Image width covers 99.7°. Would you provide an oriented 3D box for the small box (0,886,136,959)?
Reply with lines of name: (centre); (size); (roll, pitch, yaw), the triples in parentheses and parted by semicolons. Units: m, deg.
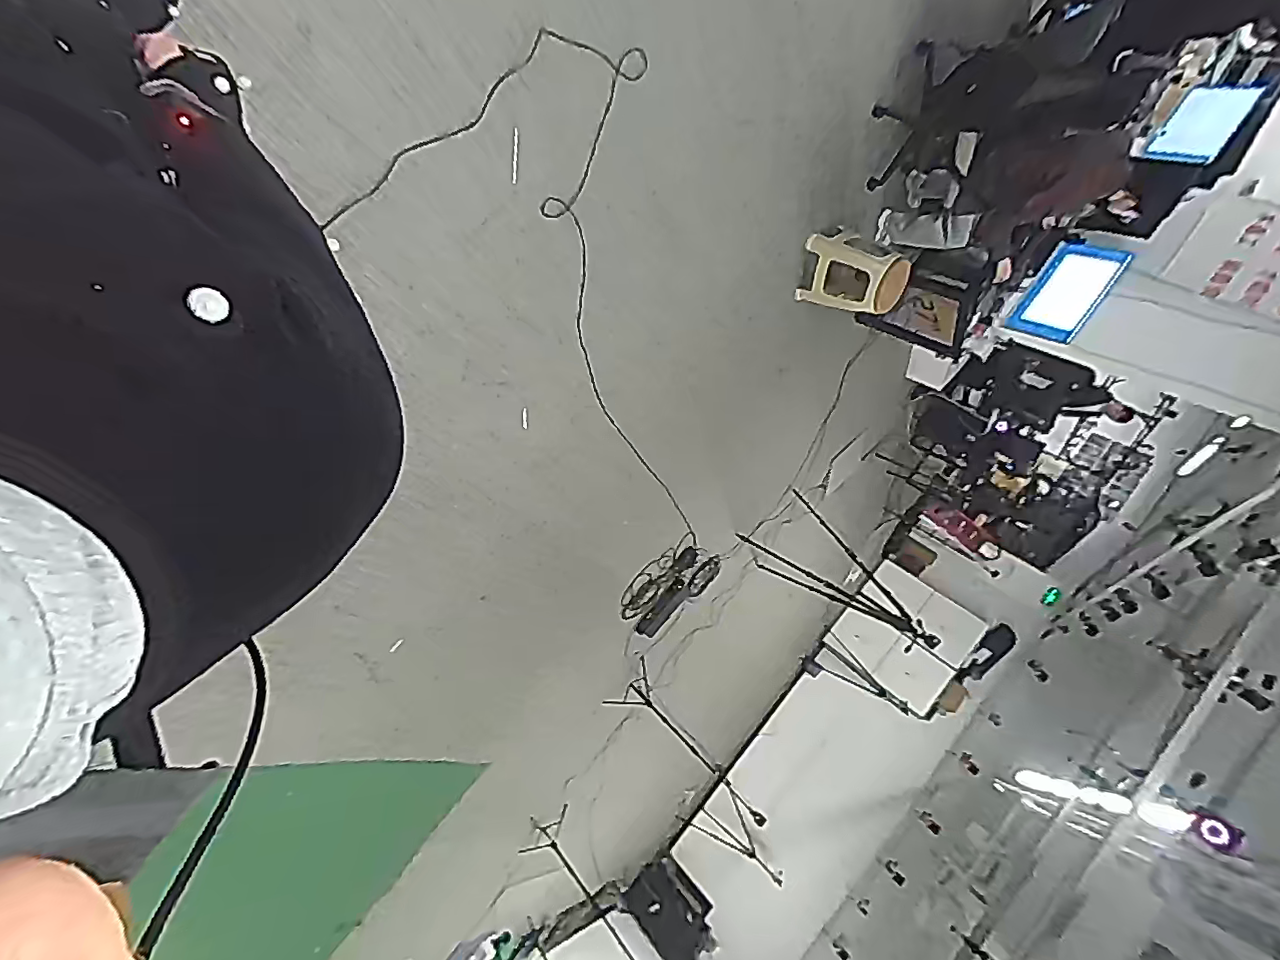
small box: (-1.004, 0.822, 0.898); (0.179, 0.176, 0.168); (-53, 148, -3)
